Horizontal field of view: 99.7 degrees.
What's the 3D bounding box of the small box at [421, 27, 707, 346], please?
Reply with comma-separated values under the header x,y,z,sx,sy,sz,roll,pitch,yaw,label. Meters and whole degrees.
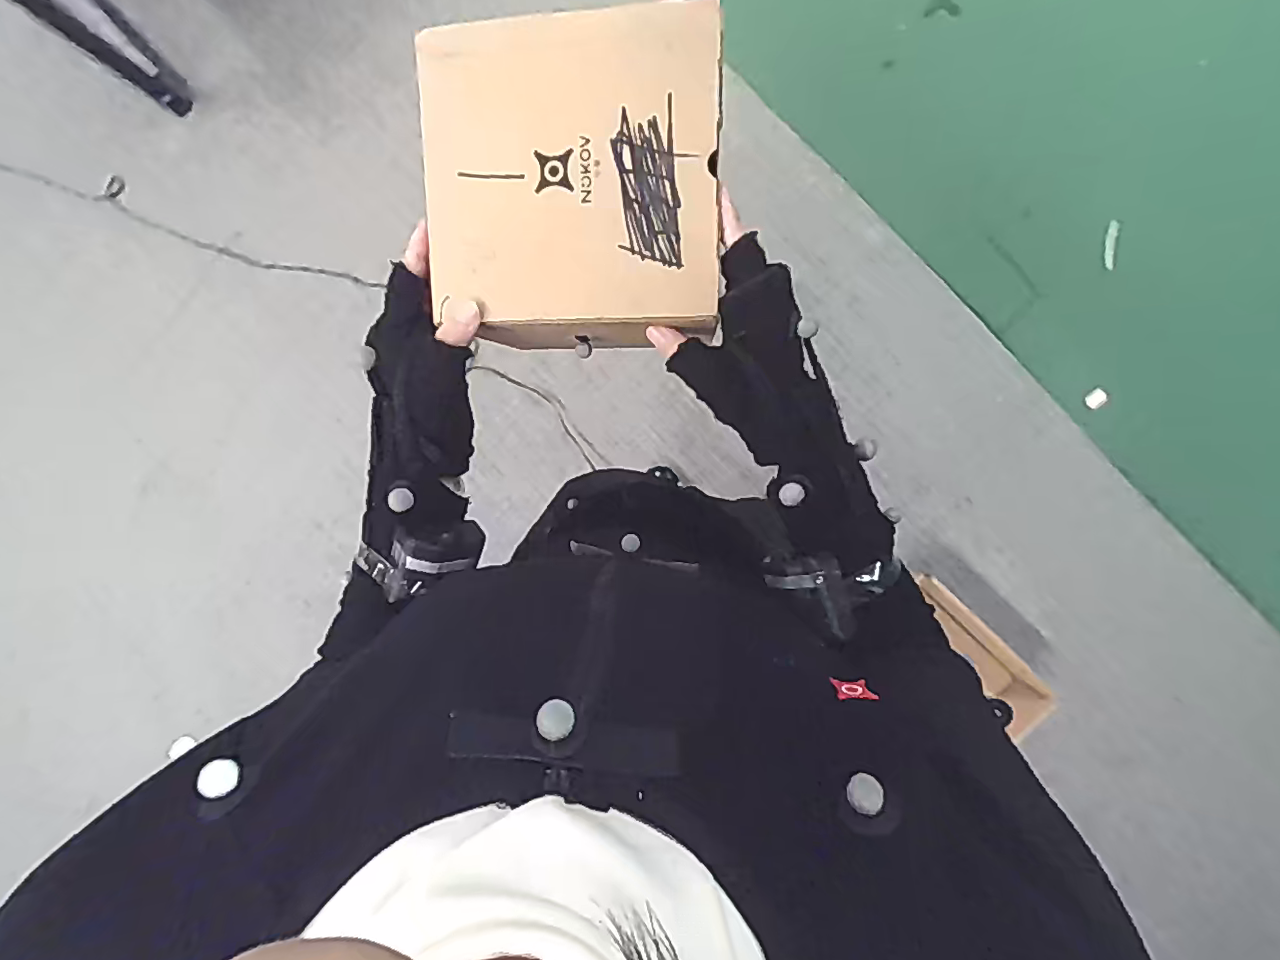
x,y,z,sx,sy,sz,roll,pitch,yaw,label
-0.040,-0.196,0.413,0.179,0.176,0.168,1,98,6,small box
